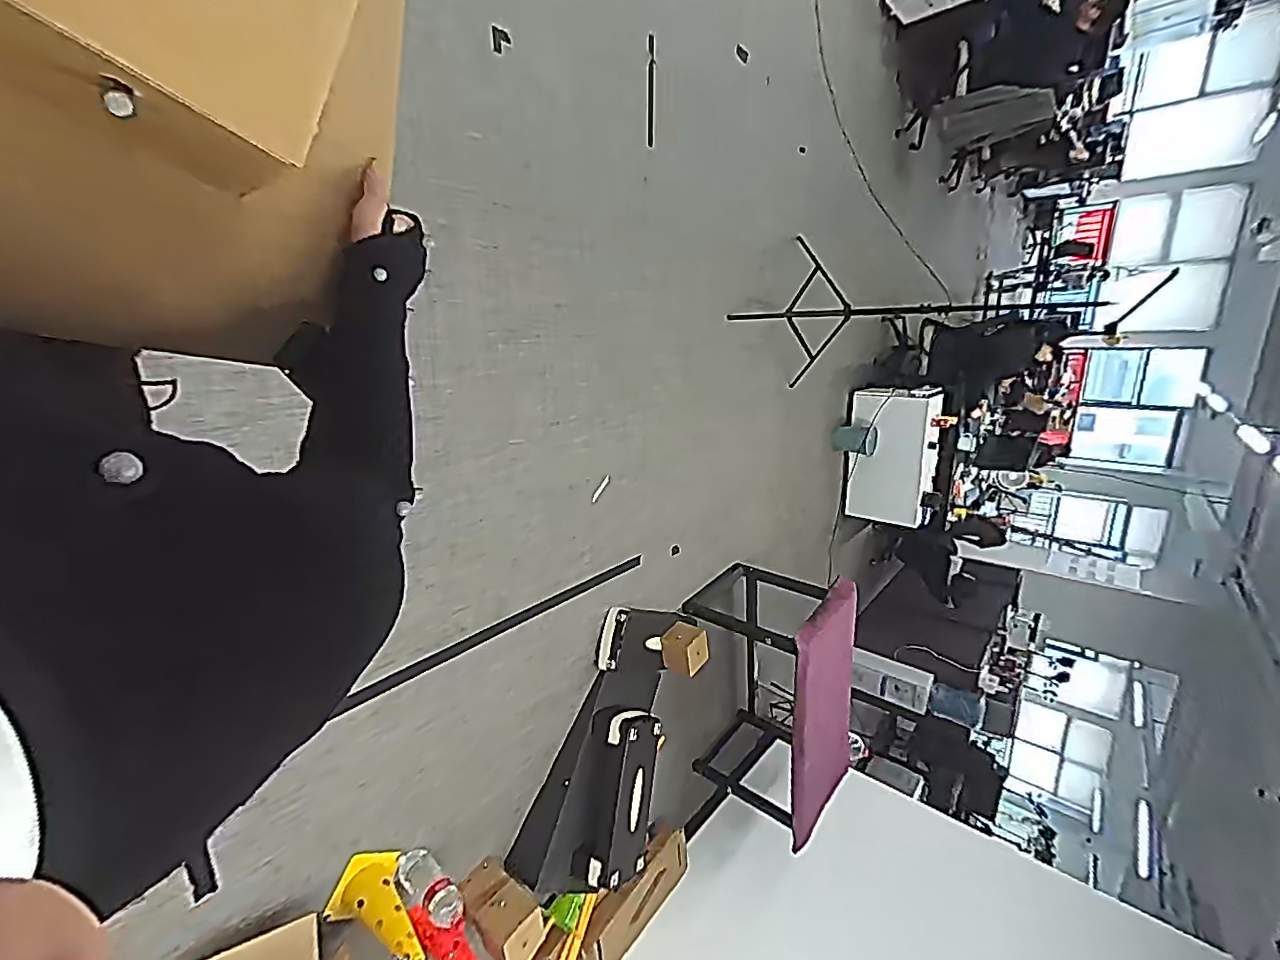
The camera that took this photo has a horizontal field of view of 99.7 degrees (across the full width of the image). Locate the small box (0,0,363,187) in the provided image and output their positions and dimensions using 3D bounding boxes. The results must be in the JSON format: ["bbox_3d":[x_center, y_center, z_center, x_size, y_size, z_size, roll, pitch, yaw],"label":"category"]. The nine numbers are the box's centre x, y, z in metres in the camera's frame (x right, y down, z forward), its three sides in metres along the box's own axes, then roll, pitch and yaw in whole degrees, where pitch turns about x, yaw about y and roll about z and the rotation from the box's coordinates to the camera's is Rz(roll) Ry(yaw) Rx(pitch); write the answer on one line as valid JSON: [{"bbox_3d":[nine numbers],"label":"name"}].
[{"bbox_3d":[-0.340,-0.343,0.396,0.179,0.176,0.168,19,88,-47],"label":"small box"}]
